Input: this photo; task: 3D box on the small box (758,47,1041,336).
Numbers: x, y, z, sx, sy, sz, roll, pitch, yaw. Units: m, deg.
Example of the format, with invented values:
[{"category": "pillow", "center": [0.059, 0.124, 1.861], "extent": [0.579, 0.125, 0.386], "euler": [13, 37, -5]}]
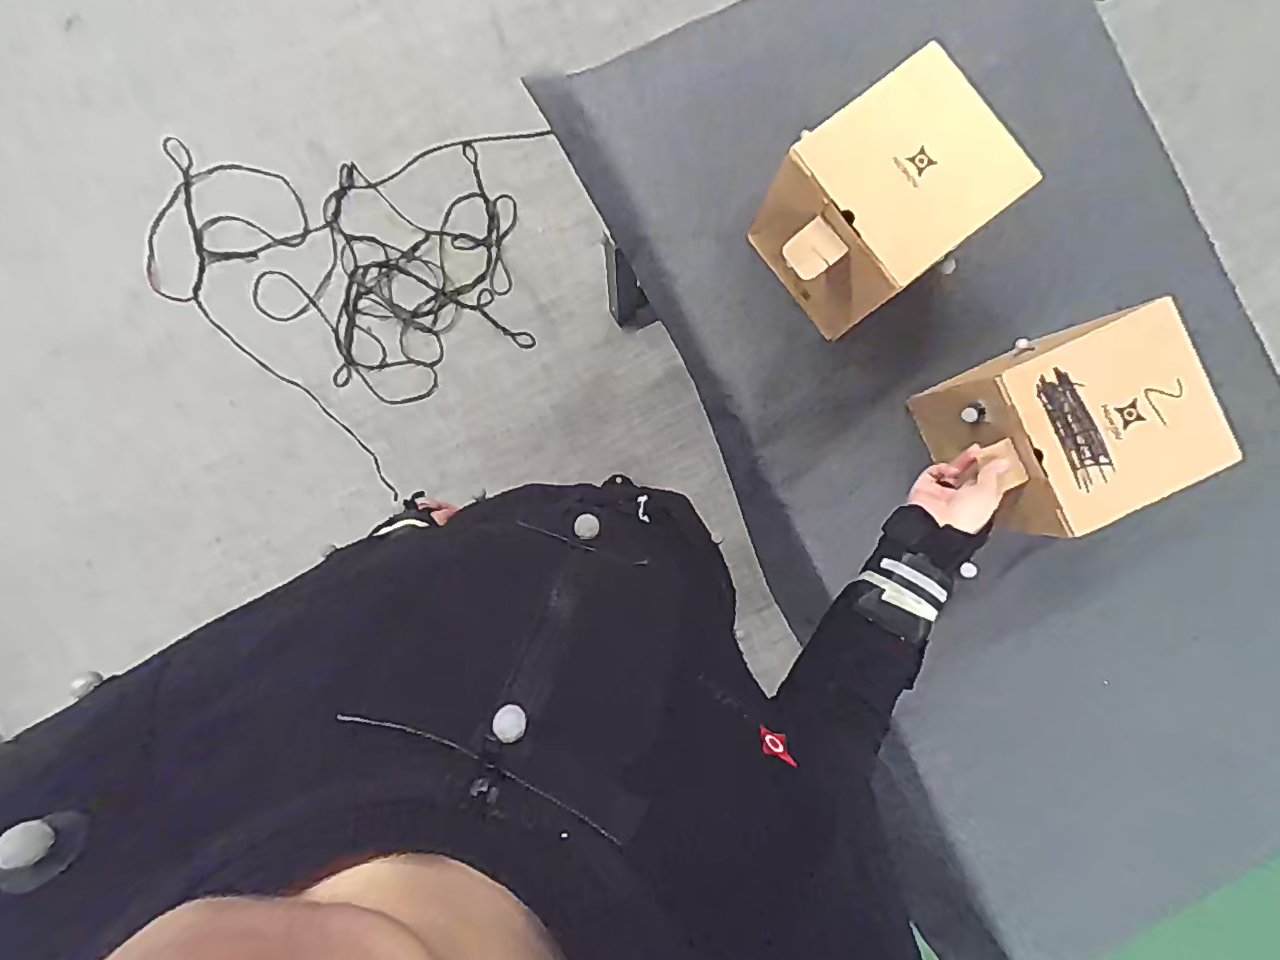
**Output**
[{"category": "small box", "center": [0.254, -0.285, 0.577], "extent": [0.179, 0.176, 0.168], "euler": [-38, 90, -3]}]
